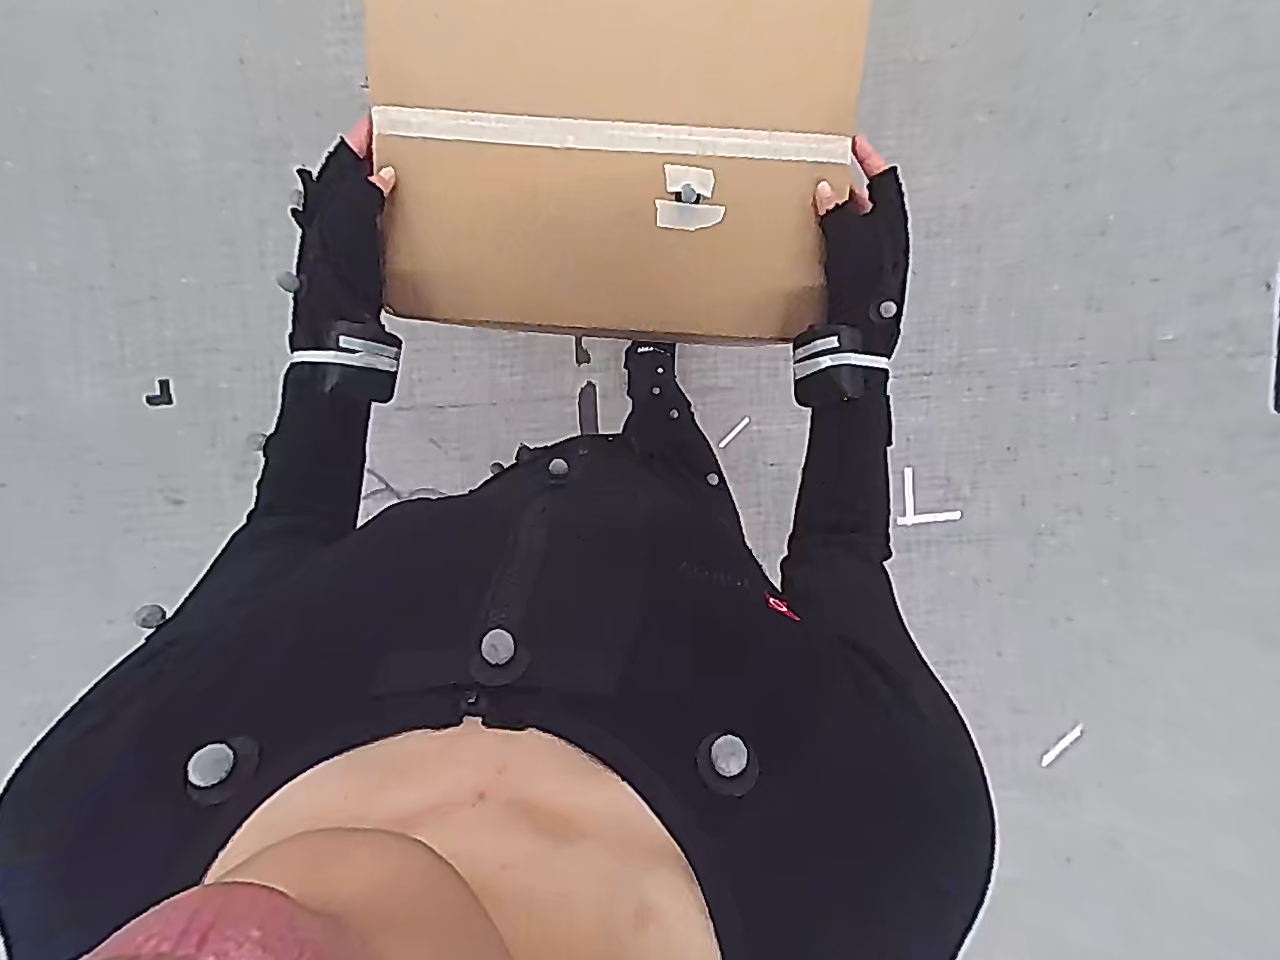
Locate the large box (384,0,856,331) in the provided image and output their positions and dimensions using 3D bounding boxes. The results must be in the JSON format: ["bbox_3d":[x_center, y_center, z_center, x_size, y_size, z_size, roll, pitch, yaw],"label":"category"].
[{"bbox_3d":[-0.024,-0.343,0.619,0.408,0.320,0.320,3,104,-2],"label":"large box"}]
